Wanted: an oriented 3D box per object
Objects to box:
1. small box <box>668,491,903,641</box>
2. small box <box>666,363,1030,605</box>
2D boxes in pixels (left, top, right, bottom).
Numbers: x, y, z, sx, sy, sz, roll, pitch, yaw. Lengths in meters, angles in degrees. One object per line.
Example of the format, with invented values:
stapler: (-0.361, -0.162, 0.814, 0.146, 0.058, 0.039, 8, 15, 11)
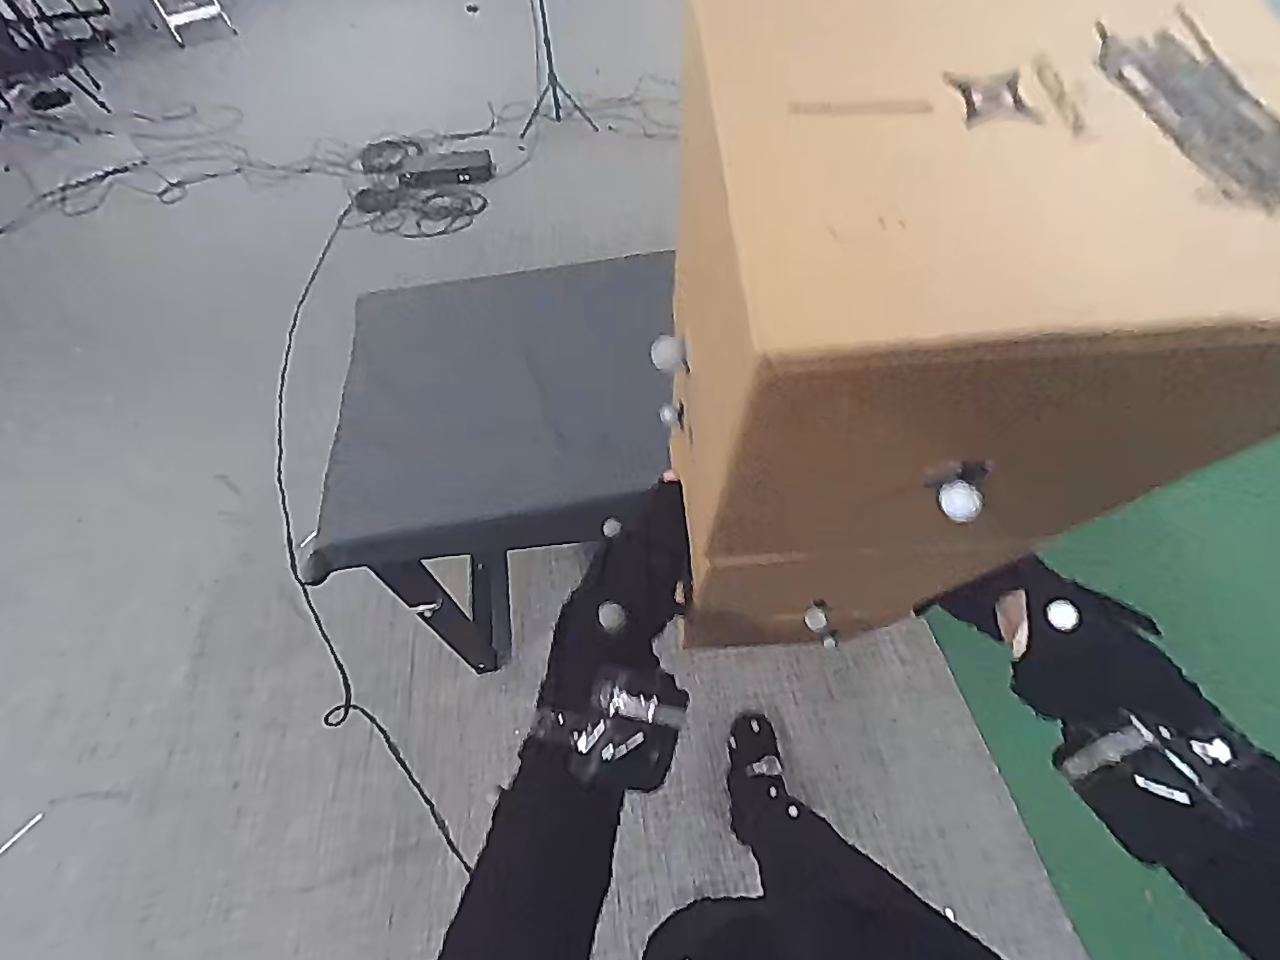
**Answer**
small box: (0.121, 0.059, 0.532, 0.179, 0.176, 0.168, -5, 65, 1)
small box: (0.114, -0.013, 0.385, 0.179, 0.176, 0.168, -3, 65, -1)
